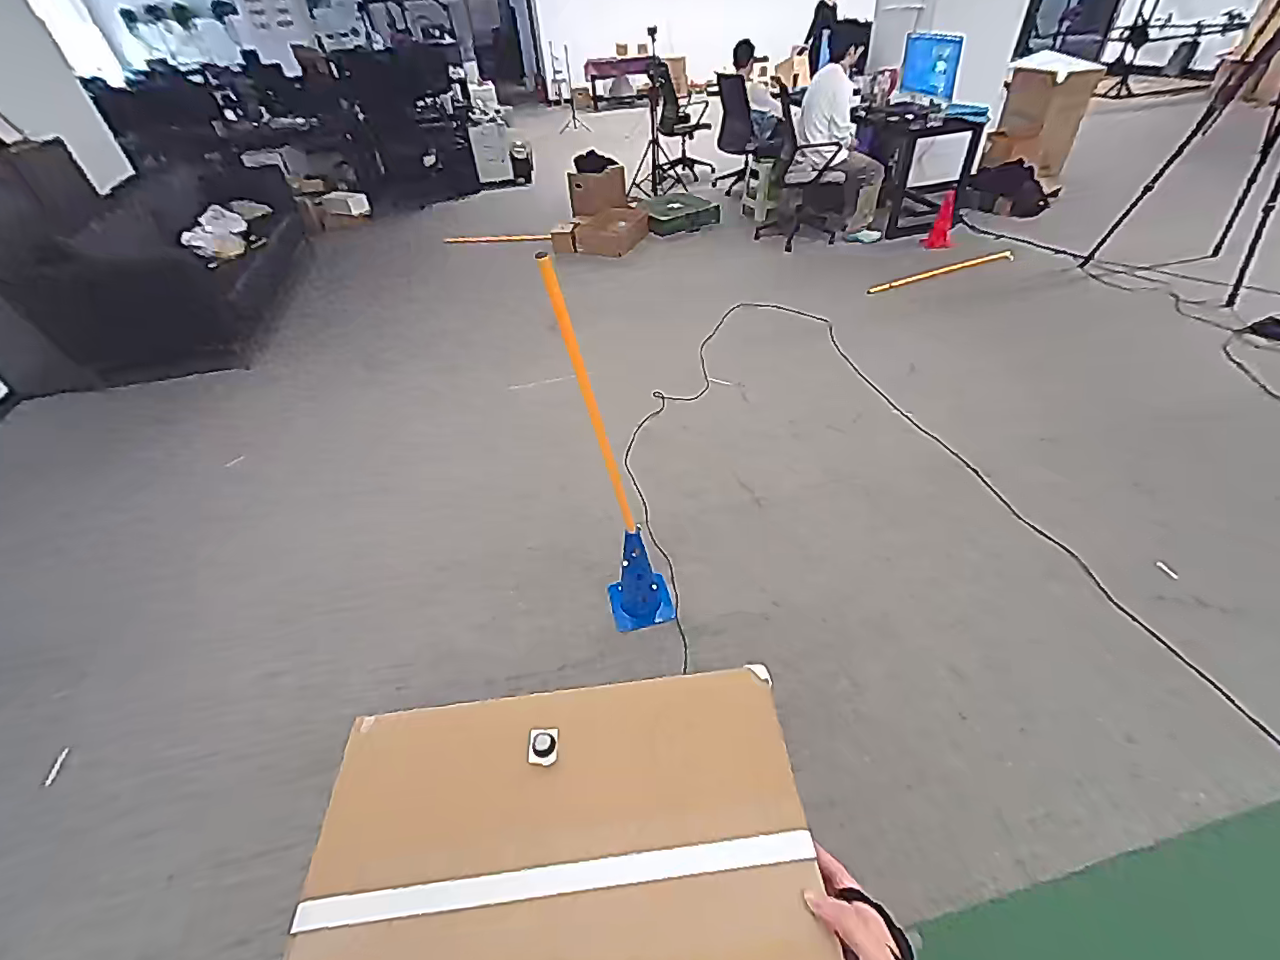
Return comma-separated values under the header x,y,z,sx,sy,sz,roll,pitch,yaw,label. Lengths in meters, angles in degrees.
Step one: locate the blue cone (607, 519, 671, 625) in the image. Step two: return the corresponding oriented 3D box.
x,y,z,sx,sy,sz,roll,pitch,yaw,label
-0.018,0.271,1.705,0.193,0.380,0.192,-15,42,-8,blue cone
